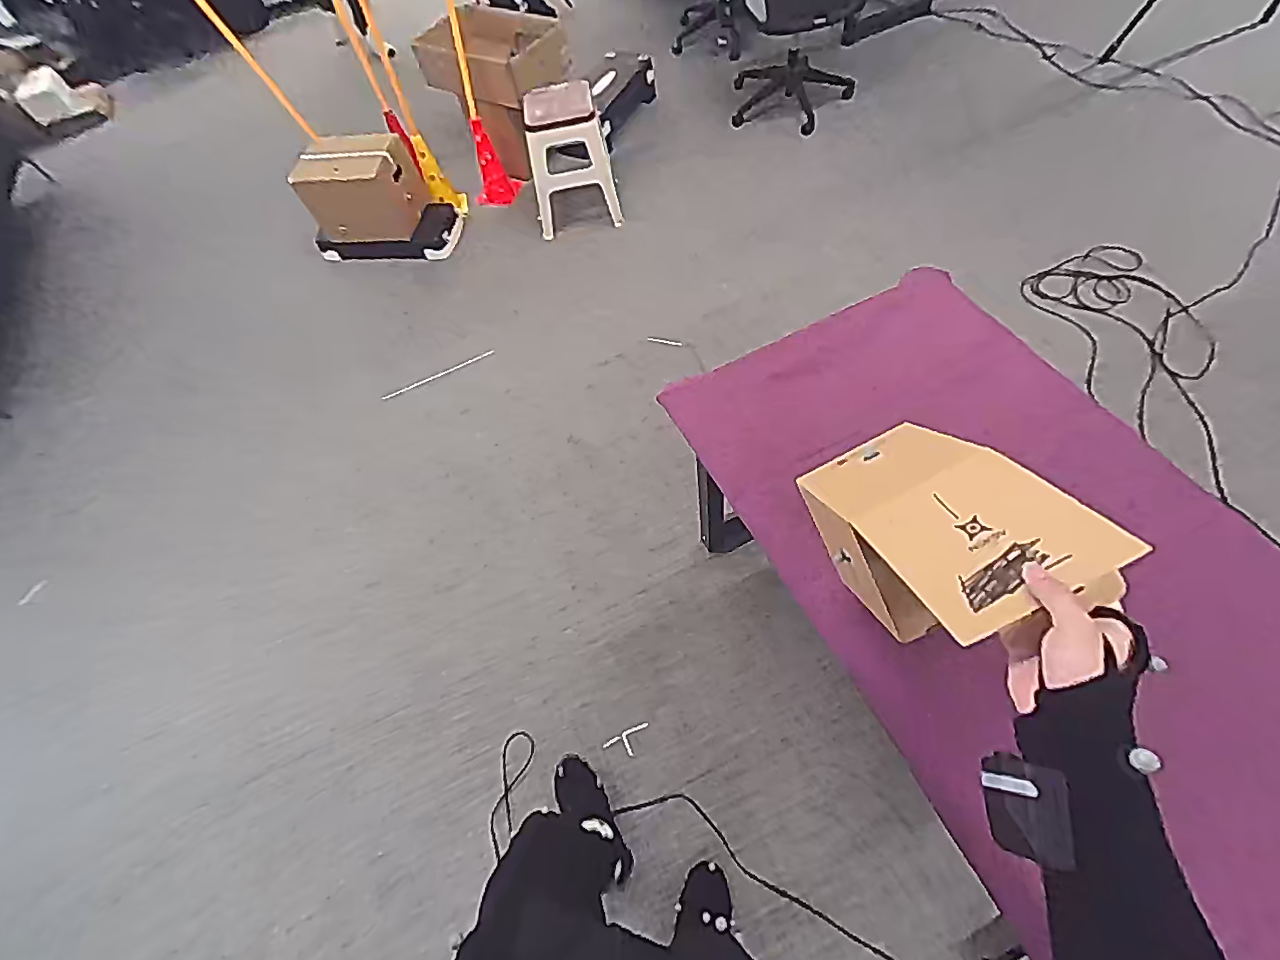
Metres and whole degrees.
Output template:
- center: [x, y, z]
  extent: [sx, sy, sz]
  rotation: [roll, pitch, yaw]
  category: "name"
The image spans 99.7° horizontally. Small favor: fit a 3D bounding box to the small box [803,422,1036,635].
- center: [0.329, 0.048, 0.665]
  extent: [0.168, 0.179, 0.176]
  rotation: [-28, 15, 4]
  category: "small box"
